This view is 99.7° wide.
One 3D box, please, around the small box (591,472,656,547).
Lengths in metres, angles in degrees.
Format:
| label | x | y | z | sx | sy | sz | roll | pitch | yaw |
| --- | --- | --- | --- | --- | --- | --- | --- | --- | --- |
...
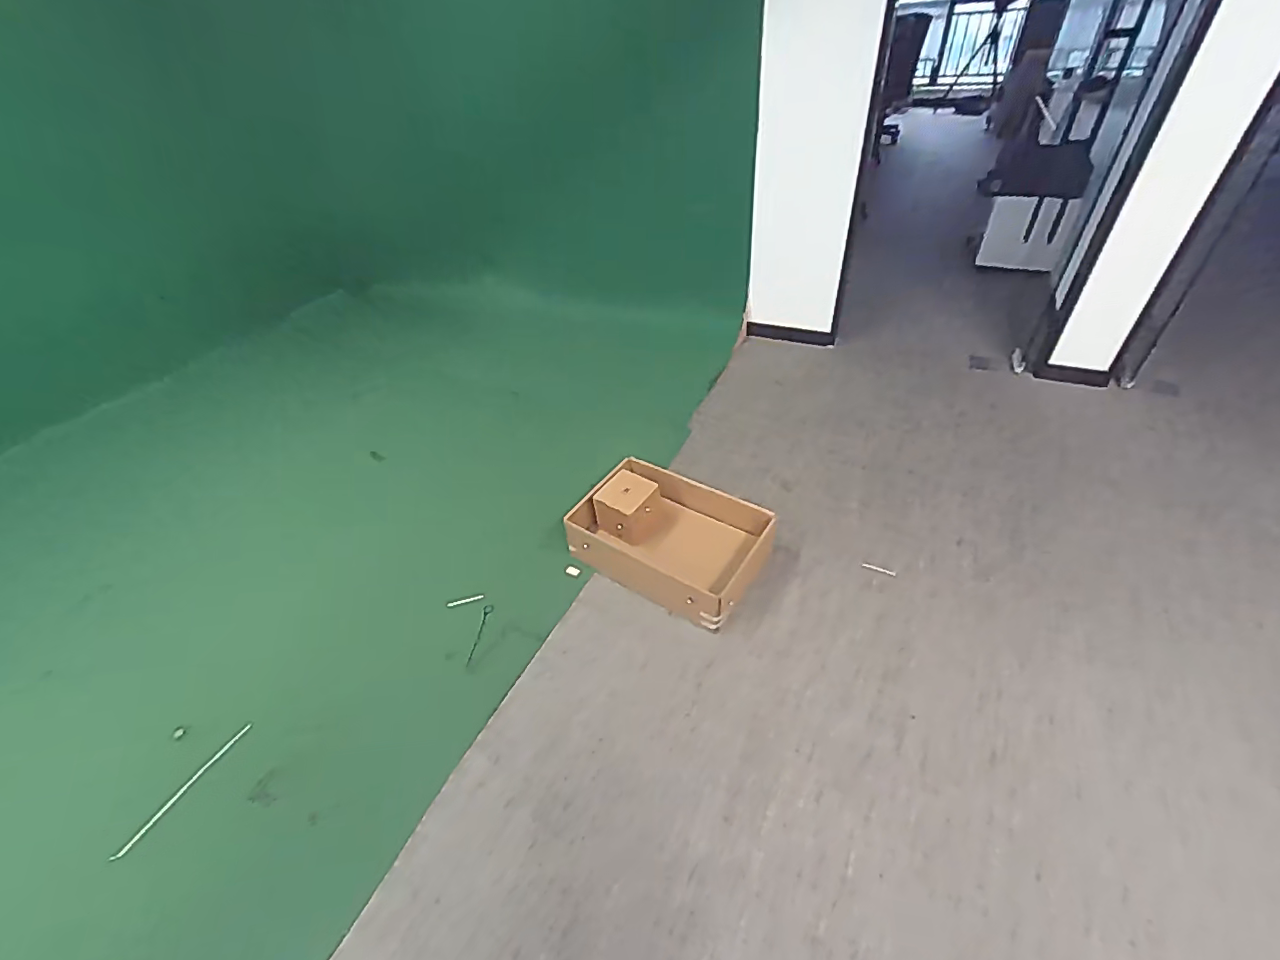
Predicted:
| label | x | y | z | sx | sy | sz | roll | pitch | yaw |
| --- | --- | --- | --- | --- | --- | --- | --- | --- | --- |
| small box | -0.051 | 0.109 | 1.931 | 0.168 | 0.176 | 0.179 | 25 | 50 | 28 |
